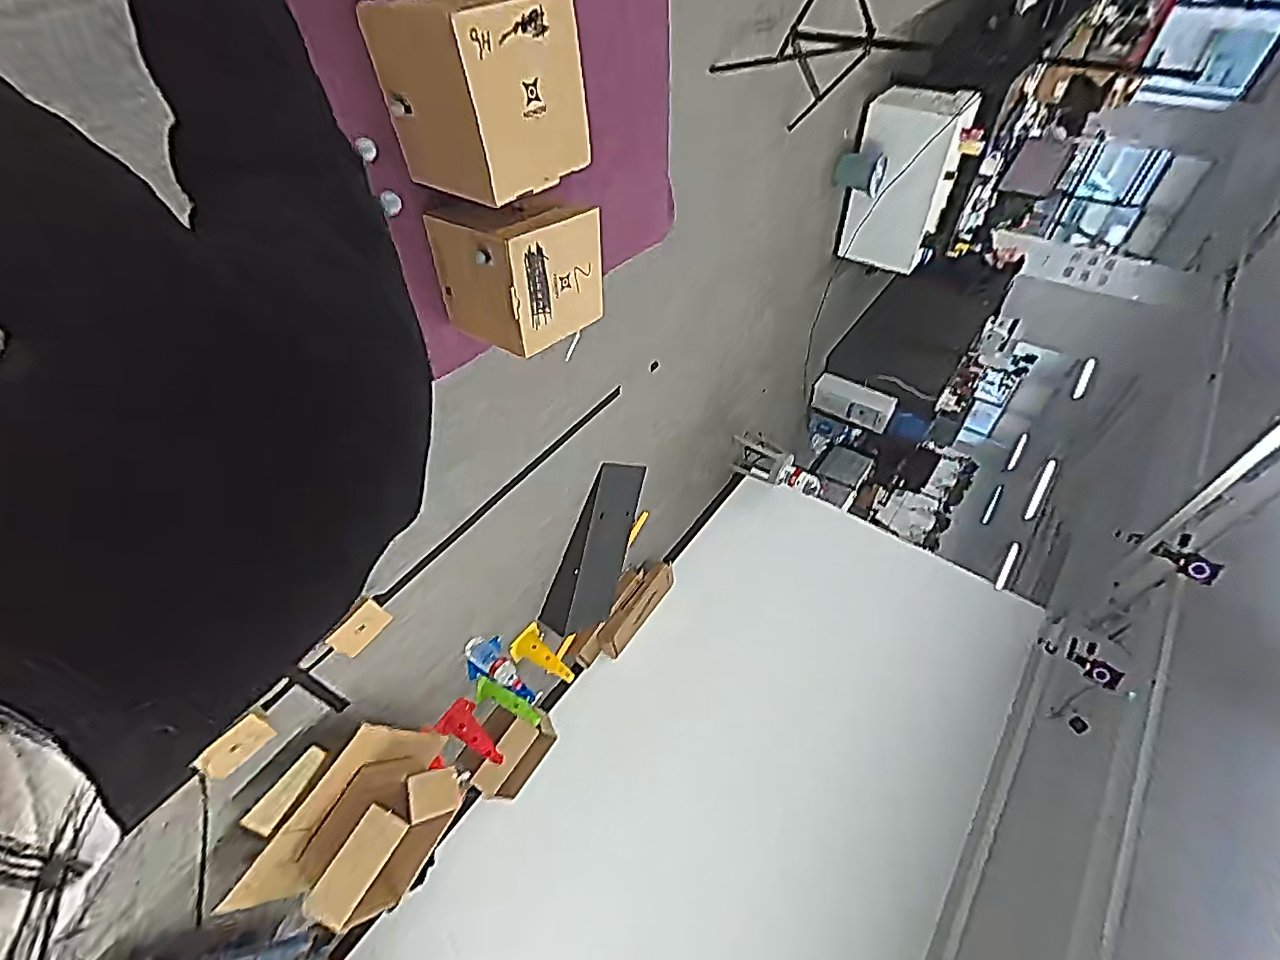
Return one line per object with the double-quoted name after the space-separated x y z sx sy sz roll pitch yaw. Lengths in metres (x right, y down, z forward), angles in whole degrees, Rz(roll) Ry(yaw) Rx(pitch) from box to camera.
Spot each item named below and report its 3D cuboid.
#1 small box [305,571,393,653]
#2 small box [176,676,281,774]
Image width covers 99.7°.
-0.975 0.438 1.802 0.179 0.176 0.168 -50 154 -24 "small box"
-1.238 0.730 1.620 0.179 0.176 0.168 -43 150 -31 "small box"
